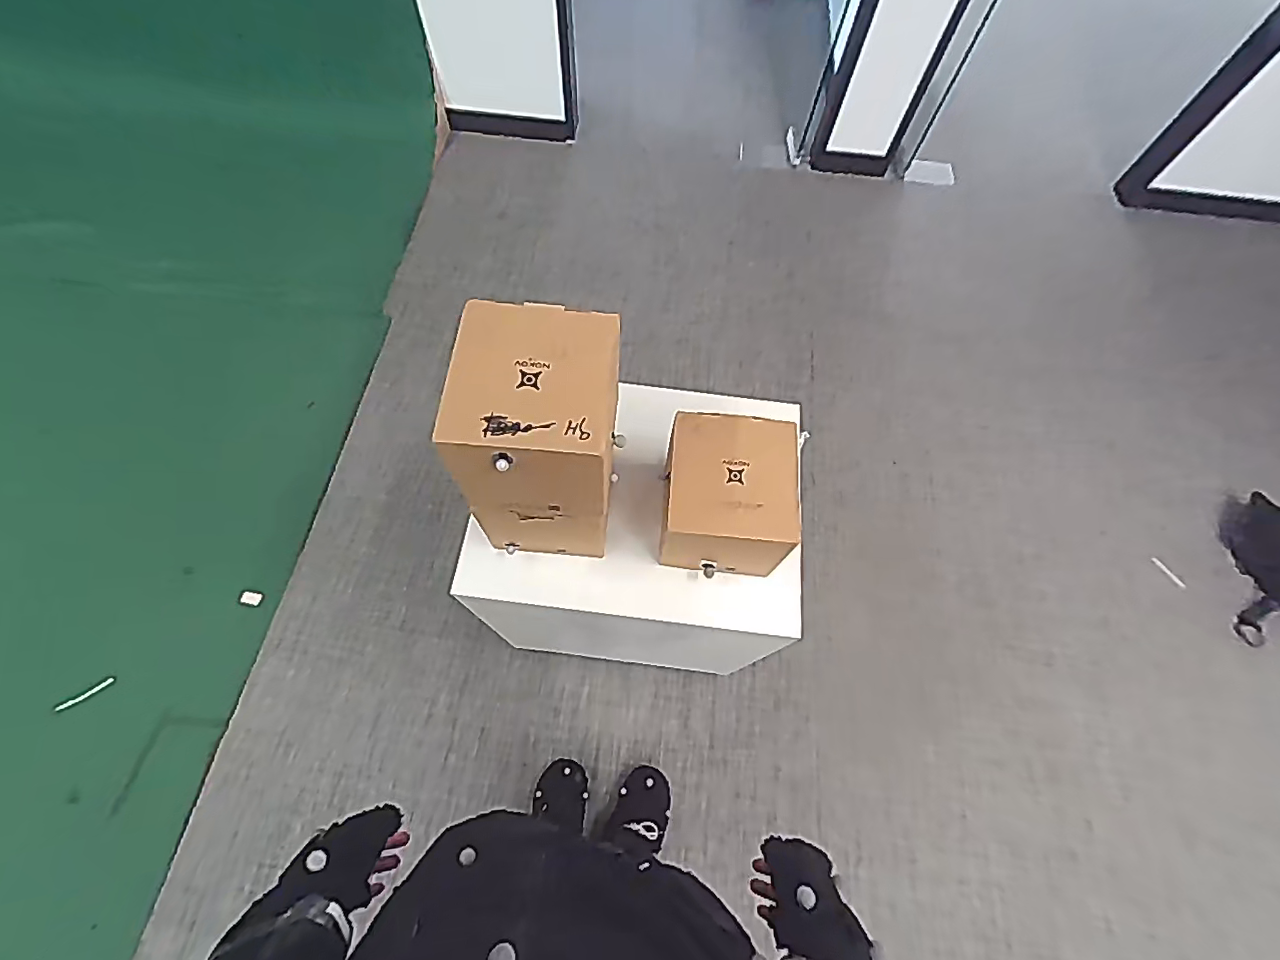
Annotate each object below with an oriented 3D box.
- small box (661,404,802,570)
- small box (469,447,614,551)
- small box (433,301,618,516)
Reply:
[{"bbox_3d":[0.118,0.016,0.755,0.168,0.176,0.179,4,67,1],"label":"small box"},{"bbox_3d":[-0.126,-0.008,0.770,0.168,0.176,0.179,4,64,-1],"label":"small box"},{"bbox_3d":[-0.116,-0.075,0.623,0.168,0.176,0.179,4,64,0],"label":"small box"}]
